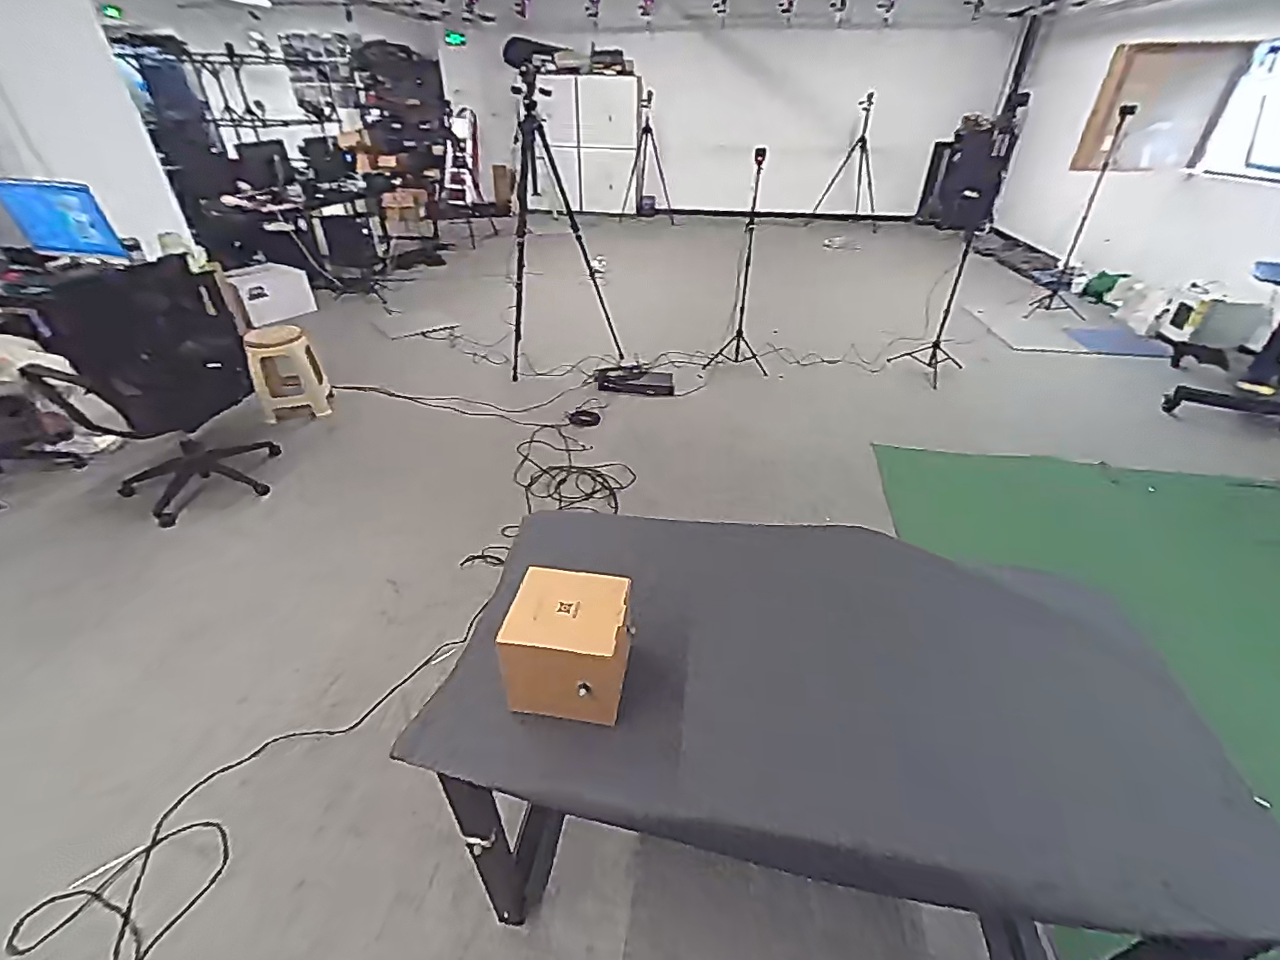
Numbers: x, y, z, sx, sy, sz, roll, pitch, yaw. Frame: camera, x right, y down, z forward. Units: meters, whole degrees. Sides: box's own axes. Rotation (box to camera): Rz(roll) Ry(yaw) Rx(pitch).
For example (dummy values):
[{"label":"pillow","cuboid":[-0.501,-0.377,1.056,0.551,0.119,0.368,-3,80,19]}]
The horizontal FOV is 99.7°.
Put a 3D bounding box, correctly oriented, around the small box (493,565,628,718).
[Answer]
[{"label":"small box","cuboid":[-0.117,0.263,0.879,0.179,0.176,0.168,4,33,7]}]
